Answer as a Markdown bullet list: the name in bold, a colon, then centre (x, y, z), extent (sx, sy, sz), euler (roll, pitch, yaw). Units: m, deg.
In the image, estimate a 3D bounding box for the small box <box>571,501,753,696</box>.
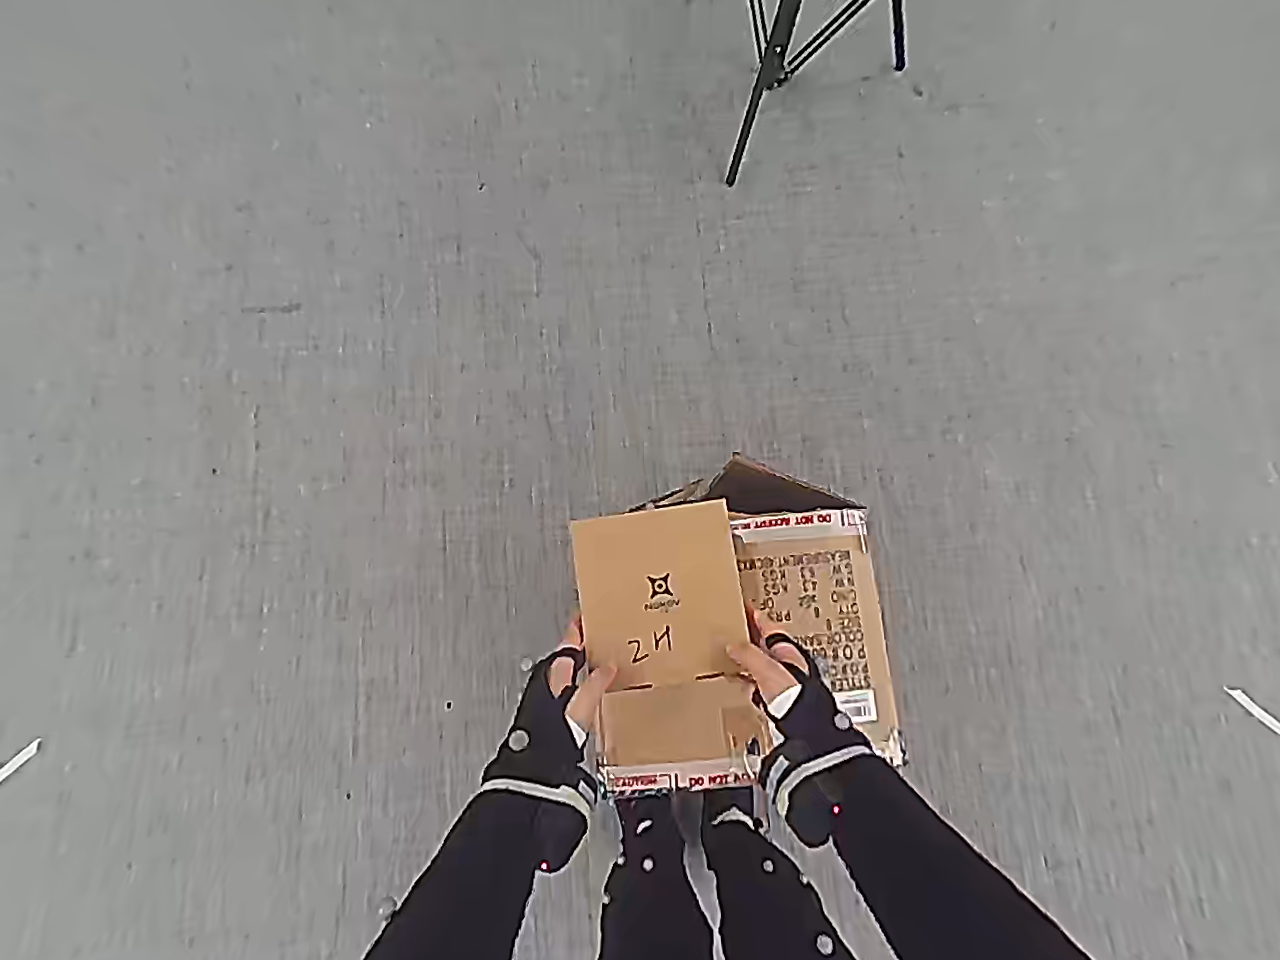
- **small box**: centre (0.020, 0.129, 0.623), extent (0.168, 0.176, 0.179), euler (-9, 82, -1)
